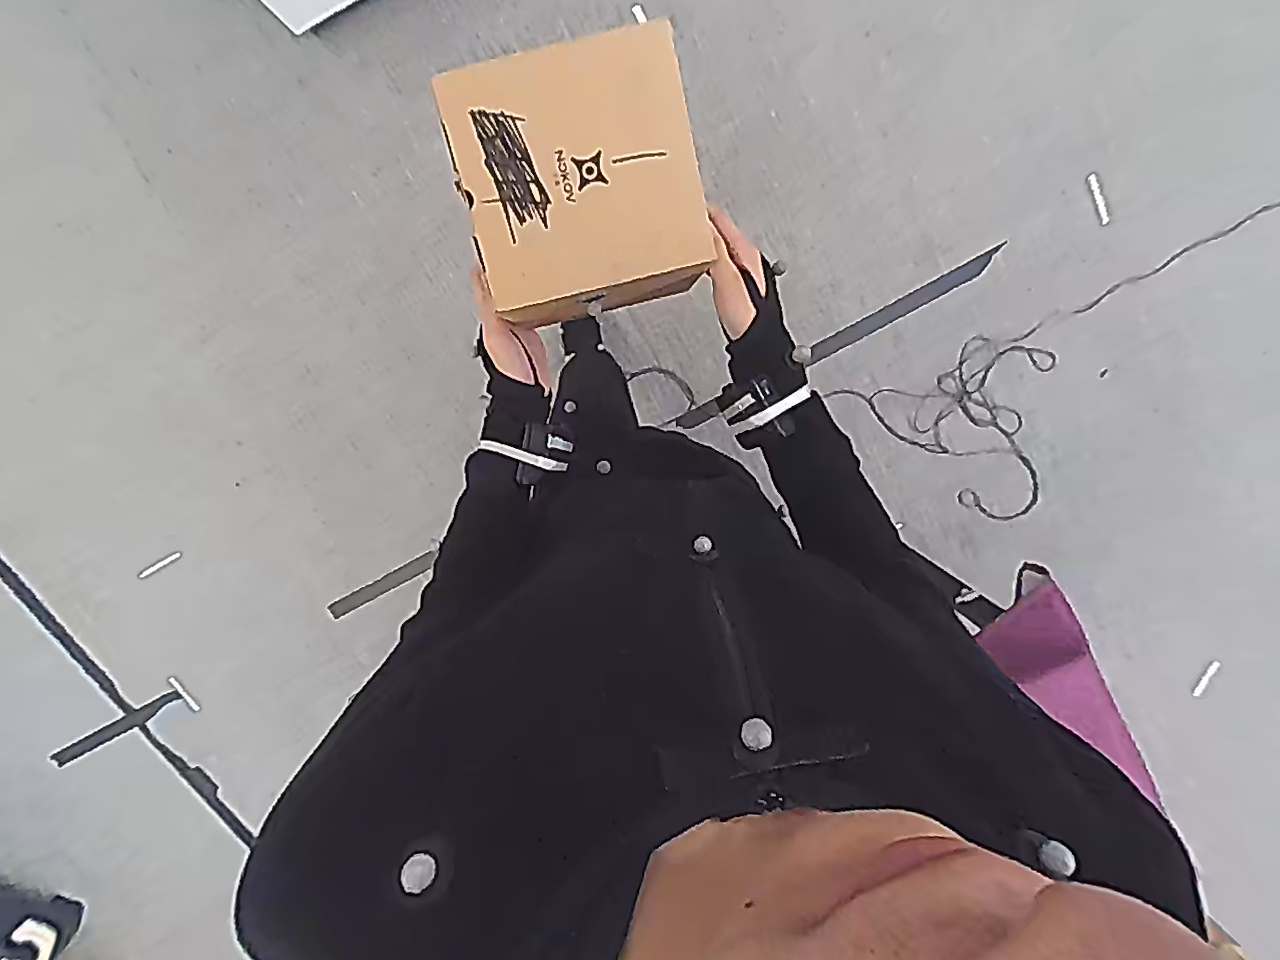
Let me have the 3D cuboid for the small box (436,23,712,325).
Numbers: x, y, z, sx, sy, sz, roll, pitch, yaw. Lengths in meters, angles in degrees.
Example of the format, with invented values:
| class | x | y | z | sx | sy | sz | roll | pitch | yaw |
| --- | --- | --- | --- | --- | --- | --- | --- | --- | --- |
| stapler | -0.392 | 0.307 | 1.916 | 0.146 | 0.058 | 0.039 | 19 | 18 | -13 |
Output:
| class | x | y | z | sx | sy | sz | roll | pitch | yaw |
| --- | --- | --- | --- | --- | --- | --- | --- | --- | --- |
| small box | -0.048 | -0.242 | 0.477 | 0.179 | 0.176 | 0.168 | -14 | 101 | -1 |

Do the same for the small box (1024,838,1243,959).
| class | x | y | z | sx | sy | sz | roll | pitch | yaw |
| --- | --- | --- | --- | --- | --- | --- | --- | --- | --- |
| small box | 0.722 | 0.677 | 0.798 | 0.179 | 0.176 | 0.168 | -22 | 101 | 4 |
